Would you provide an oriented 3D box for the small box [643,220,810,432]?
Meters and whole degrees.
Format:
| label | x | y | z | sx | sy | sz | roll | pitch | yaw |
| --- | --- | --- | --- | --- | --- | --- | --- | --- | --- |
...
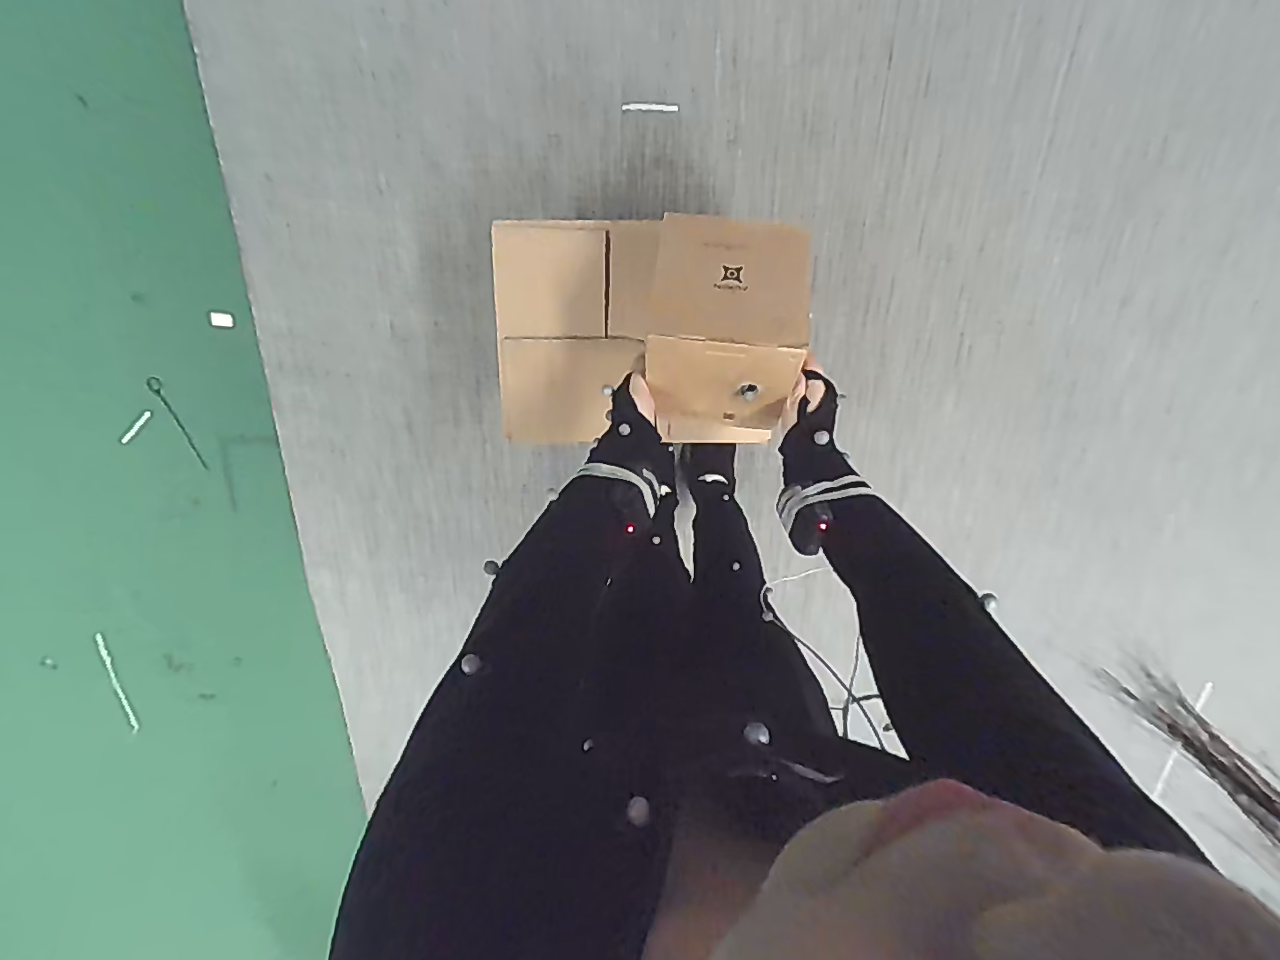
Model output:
| label | x | y | z | sx | sy | sz | roll | pitch | yaw |
| --- | --- | --- | --- | --- | --- | --- | --- | --- | --- |
| small box | 0.097 | -0.174 | 0.643 | 0.168 | 0.179 | 0.176 | 6 | 156 | 4 |
